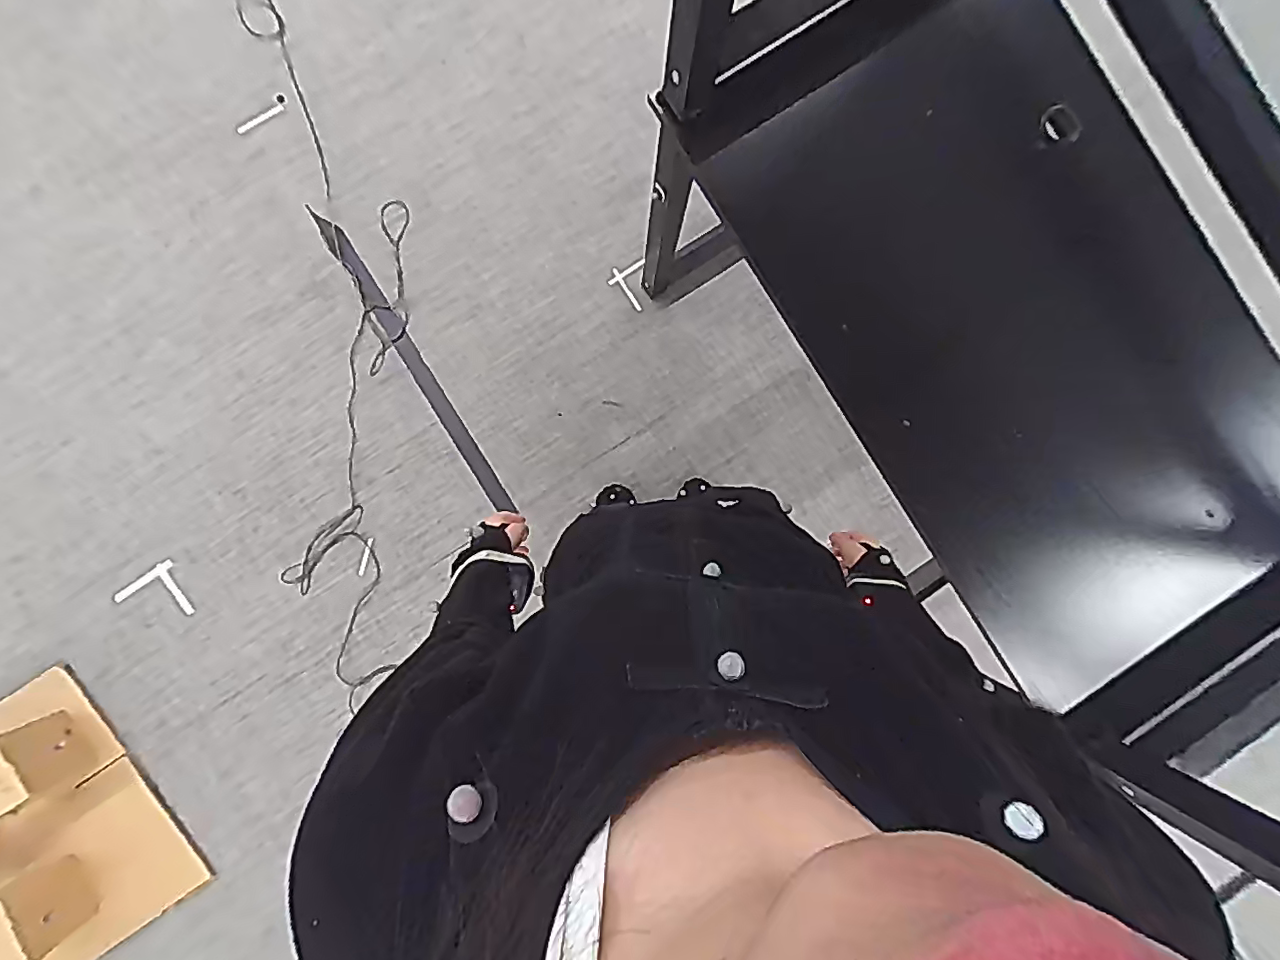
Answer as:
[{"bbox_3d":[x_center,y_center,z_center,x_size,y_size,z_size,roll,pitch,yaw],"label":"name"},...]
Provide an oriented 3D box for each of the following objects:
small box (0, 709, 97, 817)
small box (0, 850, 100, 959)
[{"bbox_3d":[-1.533,0.710,1.338,0.179,0.176,0.168,-34,92,-3],"label":"small box"},{"bbox_3d":[-1.513,1.076,1.336,0.168,0.176,0.179,-25,92,-3],"label":"small box"}]
